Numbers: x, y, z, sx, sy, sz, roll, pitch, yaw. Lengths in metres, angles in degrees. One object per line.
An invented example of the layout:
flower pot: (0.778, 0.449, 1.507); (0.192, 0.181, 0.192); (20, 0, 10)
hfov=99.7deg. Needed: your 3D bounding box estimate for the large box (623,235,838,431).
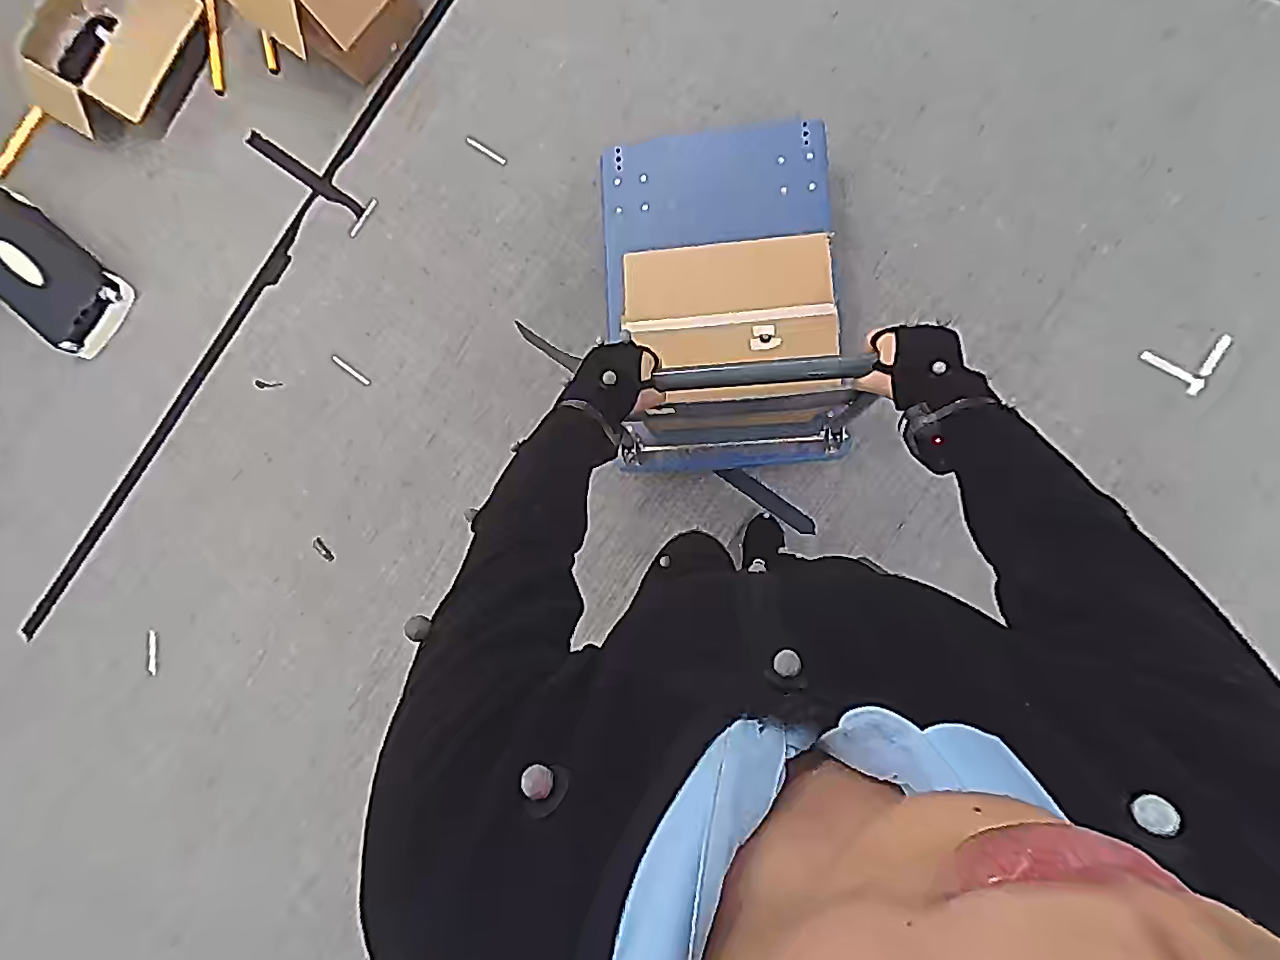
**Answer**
large box: (0.185, -0.299, 1.203); (0.408, 0.320, 0.320); (-3, 86, 6)
